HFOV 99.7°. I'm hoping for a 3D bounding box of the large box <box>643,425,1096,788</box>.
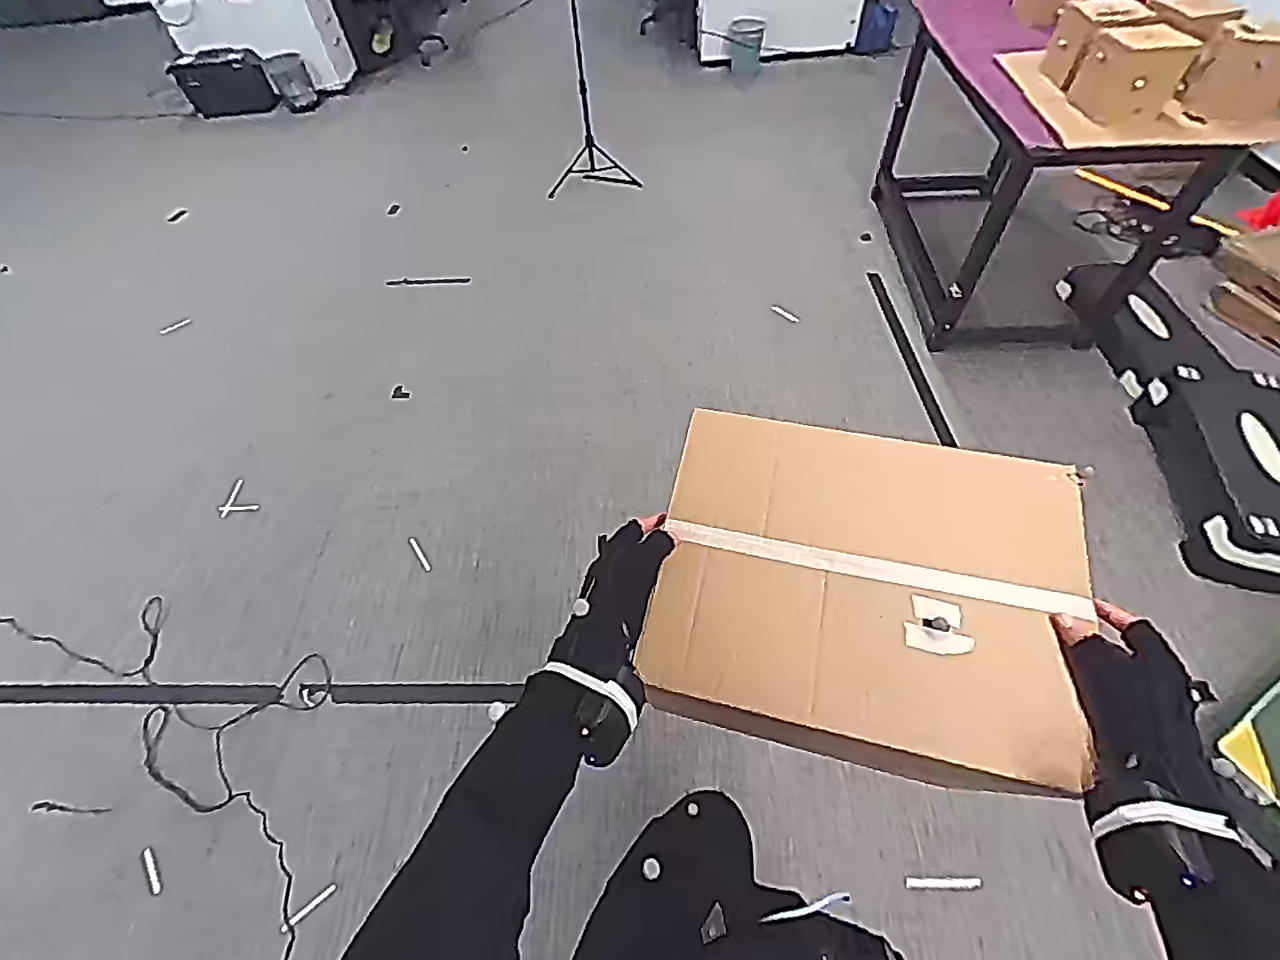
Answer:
[{"bbox_3d":[0.237,0.164,0.684,0.408,0.320,0.320,10,65,11],"label":"large box"}]
